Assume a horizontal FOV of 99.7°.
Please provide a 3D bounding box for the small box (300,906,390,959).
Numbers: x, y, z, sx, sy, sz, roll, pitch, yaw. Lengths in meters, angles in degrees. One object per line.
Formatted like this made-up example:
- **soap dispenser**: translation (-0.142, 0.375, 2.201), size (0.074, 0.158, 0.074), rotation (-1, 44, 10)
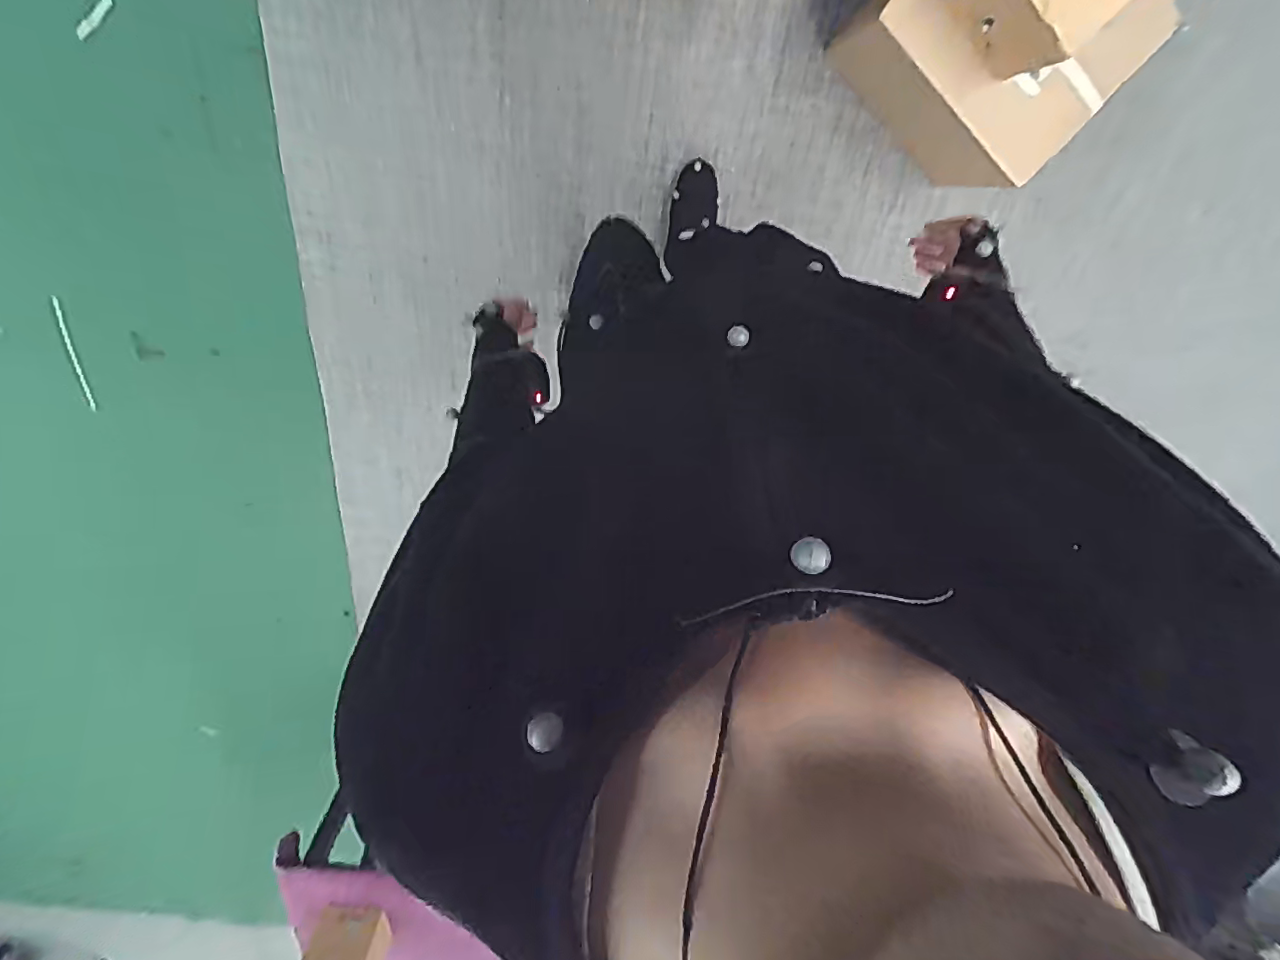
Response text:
- **small box**: translation (-0.782, 1.268, 1.431), size (0.168, 0.176, 0.179), rotation (5, 121, -3)

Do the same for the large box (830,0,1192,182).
- **large box**: translation (0.635, -0.820, 0.994), size (0.408, 0.320, 0.320), rotation (34, 115, -18)

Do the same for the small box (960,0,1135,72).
- **small box**: translation (0.603, -0.731, 0.765), size (0.168, 0.176, 0.179), rotation (39, 112, -19)
